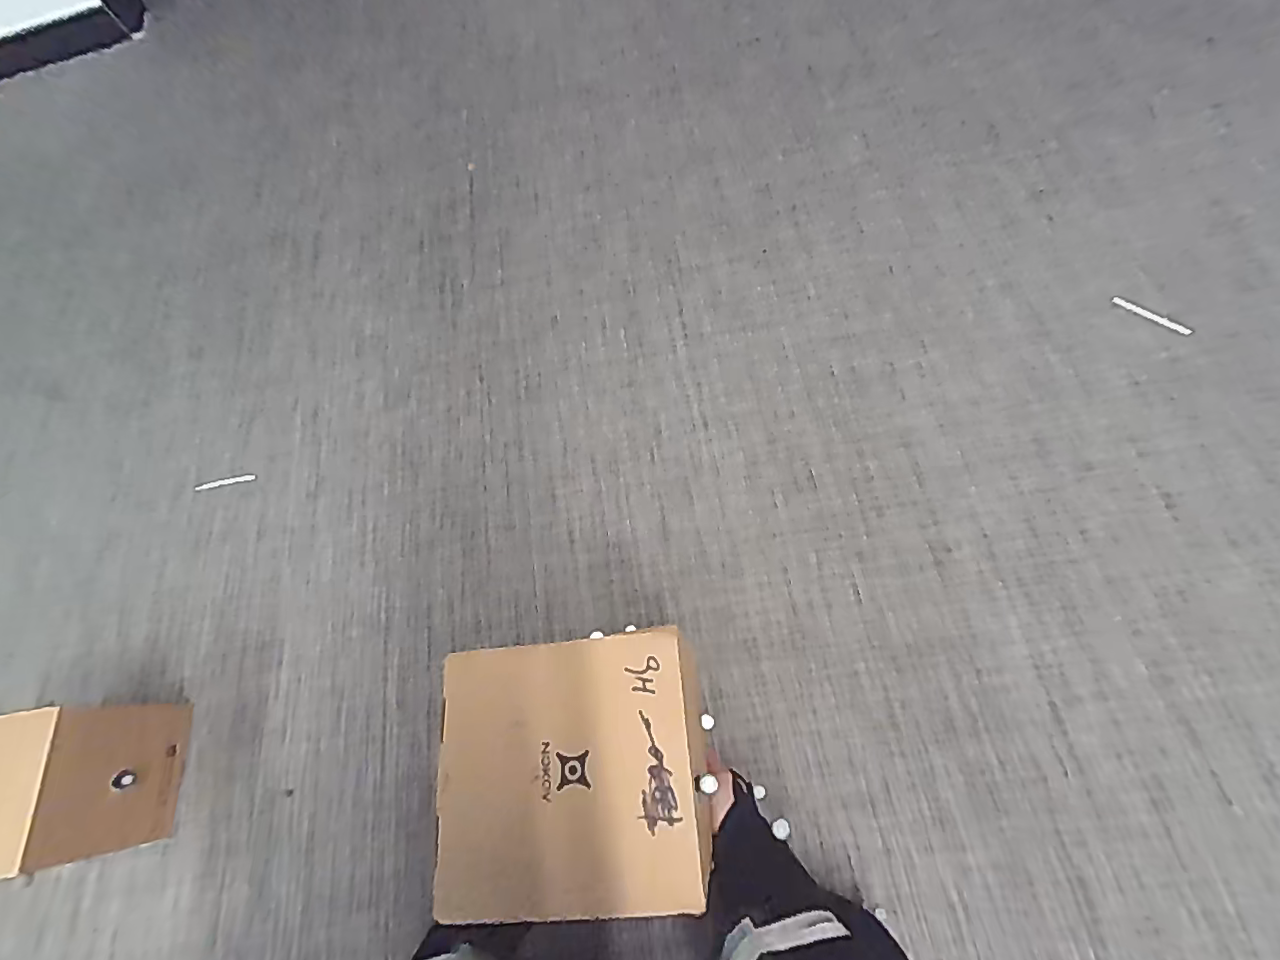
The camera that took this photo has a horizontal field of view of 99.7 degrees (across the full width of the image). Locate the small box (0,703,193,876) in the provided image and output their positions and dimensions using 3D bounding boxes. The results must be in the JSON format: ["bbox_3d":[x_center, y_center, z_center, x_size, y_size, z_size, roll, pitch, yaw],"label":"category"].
[{"bbox_3d":[-0.712,0.374,0.670,0.179,0.176,0.168,-11,67,5],"label":"small box"}]

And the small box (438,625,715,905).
[{"bbox_3d":[-0.038,0.218,0.440,0.179,0.176,0.168,-8,68,7],"label":"small box"}]
